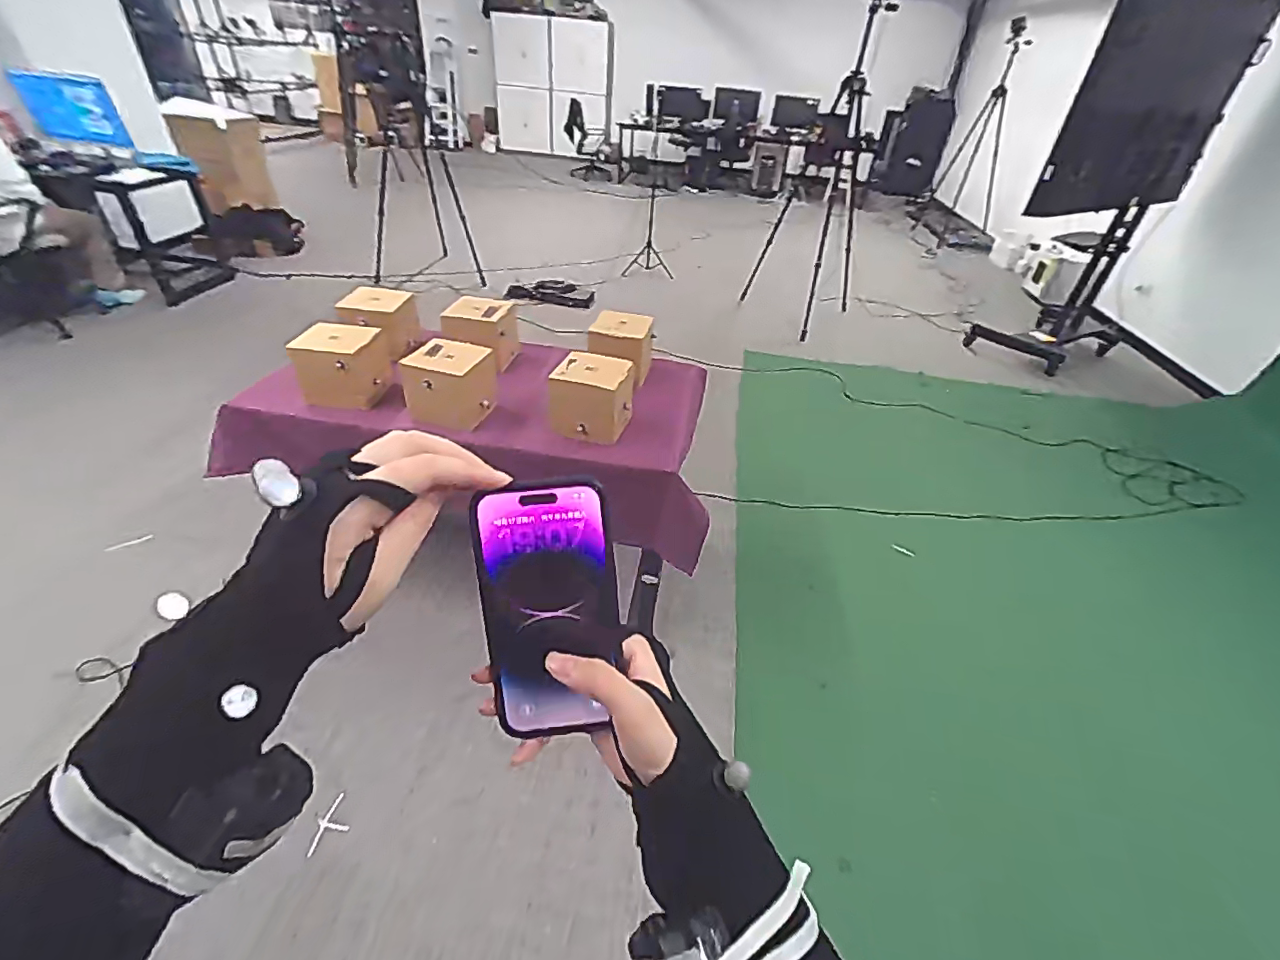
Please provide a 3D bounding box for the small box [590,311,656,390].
[{"bbox_3d":[-0.055,-0.399,1.663,0.168,0.176,0.179,11,39,8],"label":"small box"}]

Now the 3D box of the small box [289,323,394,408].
[{"bbox_3d":[-0.797,-0.308,1.462,0.179,0.176,0.168,6,38,-1],"label":"small box"}]

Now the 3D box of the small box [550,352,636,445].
[{"bbox_3d":[-0.122,-0.212,1.420,0.179,0.176,0.168,14,38,10],"label":"small box"}]

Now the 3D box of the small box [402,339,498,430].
[{"bbox_3d":[-0.491,-0.251,1.424,0.179,0.176,0.168,14,39,9],"label":"small box"}]
